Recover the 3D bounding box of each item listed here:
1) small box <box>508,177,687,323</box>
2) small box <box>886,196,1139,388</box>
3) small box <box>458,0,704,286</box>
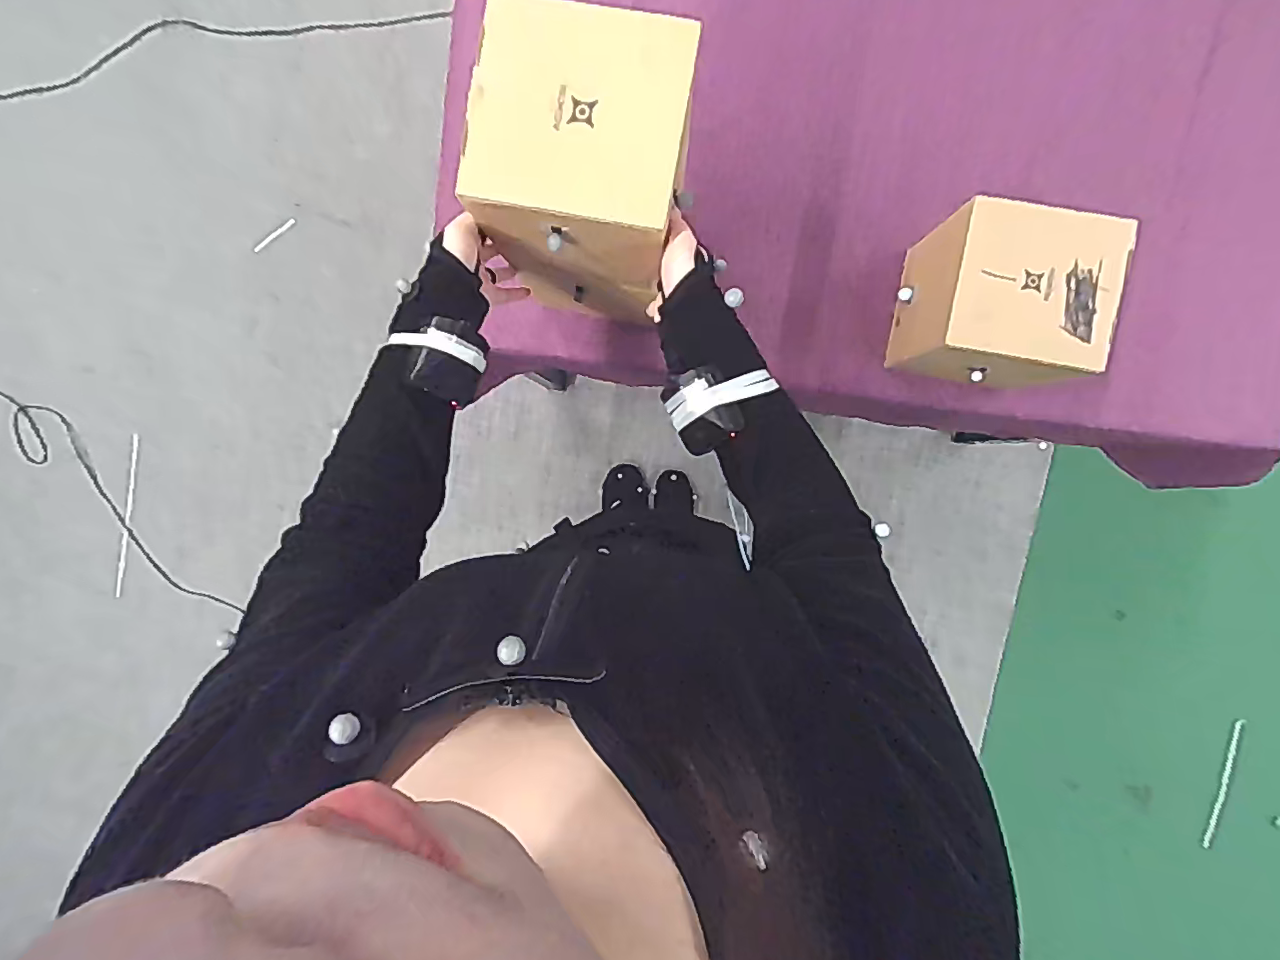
[{"bbox_3d":[-0.043,-0.306,0.673,0.179,0.176,0.168,11,94,2],"label":"small box"},{"bbox_3d":[0.433,-0.213,0.660,0.179,0.176,0.168,11,93,3],"label":"small box"},{"bbox_3d":[-0.045,-0.297,0.511,0.179,0.176,0.168,11,93,3],"label":"small box"}]
